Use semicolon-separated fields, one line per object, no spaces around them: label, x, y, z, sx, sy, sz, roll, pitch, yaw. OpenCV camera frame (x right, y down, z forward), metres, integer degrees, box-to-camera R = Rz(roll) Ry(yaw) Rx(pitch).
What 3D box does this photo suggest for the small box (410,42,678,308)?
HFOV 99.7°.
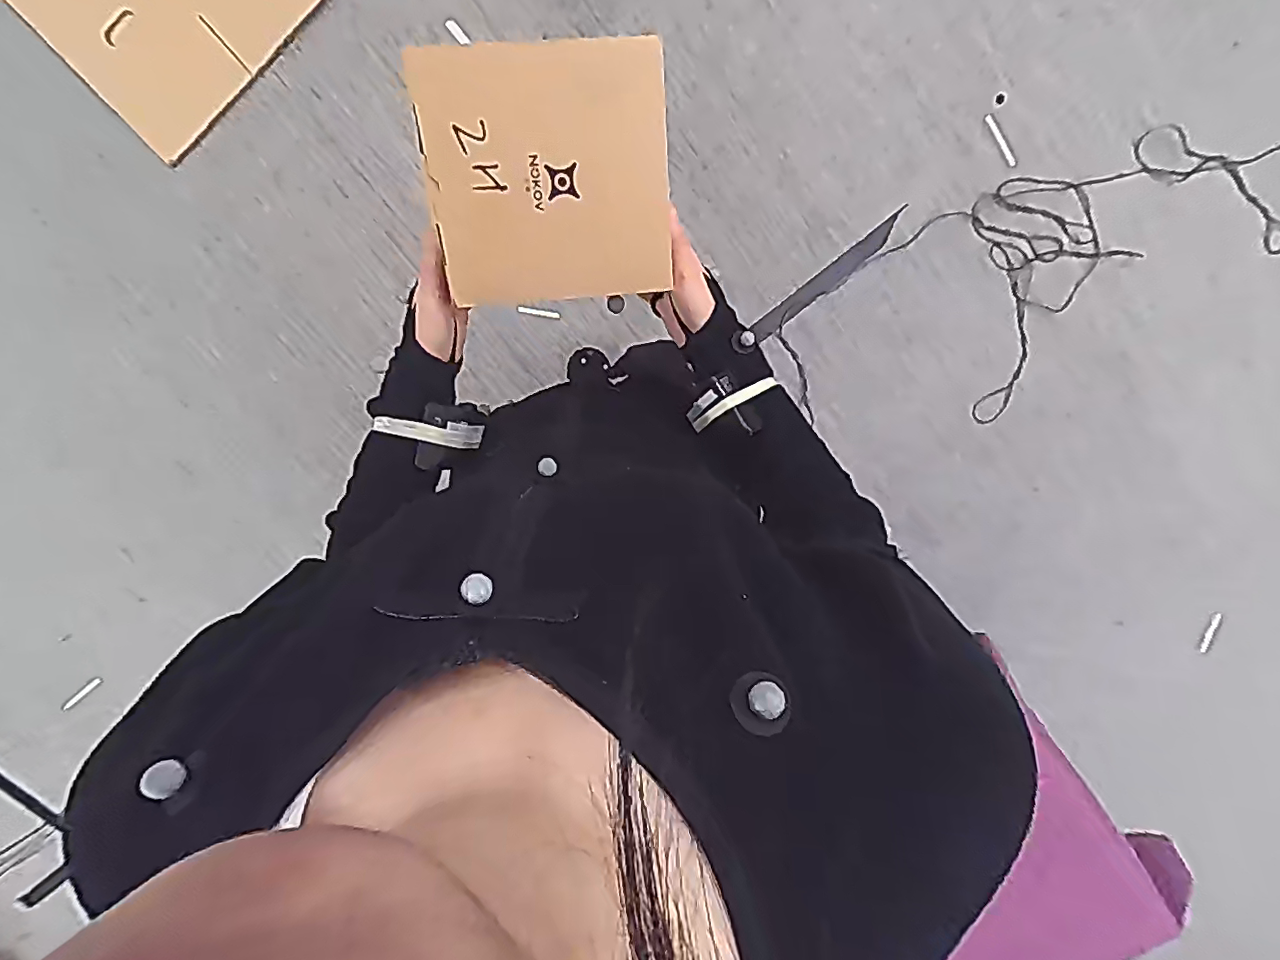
small box;-0.070;-0.246;0.463;0.179;0.176;0.168;-6;113;-4
